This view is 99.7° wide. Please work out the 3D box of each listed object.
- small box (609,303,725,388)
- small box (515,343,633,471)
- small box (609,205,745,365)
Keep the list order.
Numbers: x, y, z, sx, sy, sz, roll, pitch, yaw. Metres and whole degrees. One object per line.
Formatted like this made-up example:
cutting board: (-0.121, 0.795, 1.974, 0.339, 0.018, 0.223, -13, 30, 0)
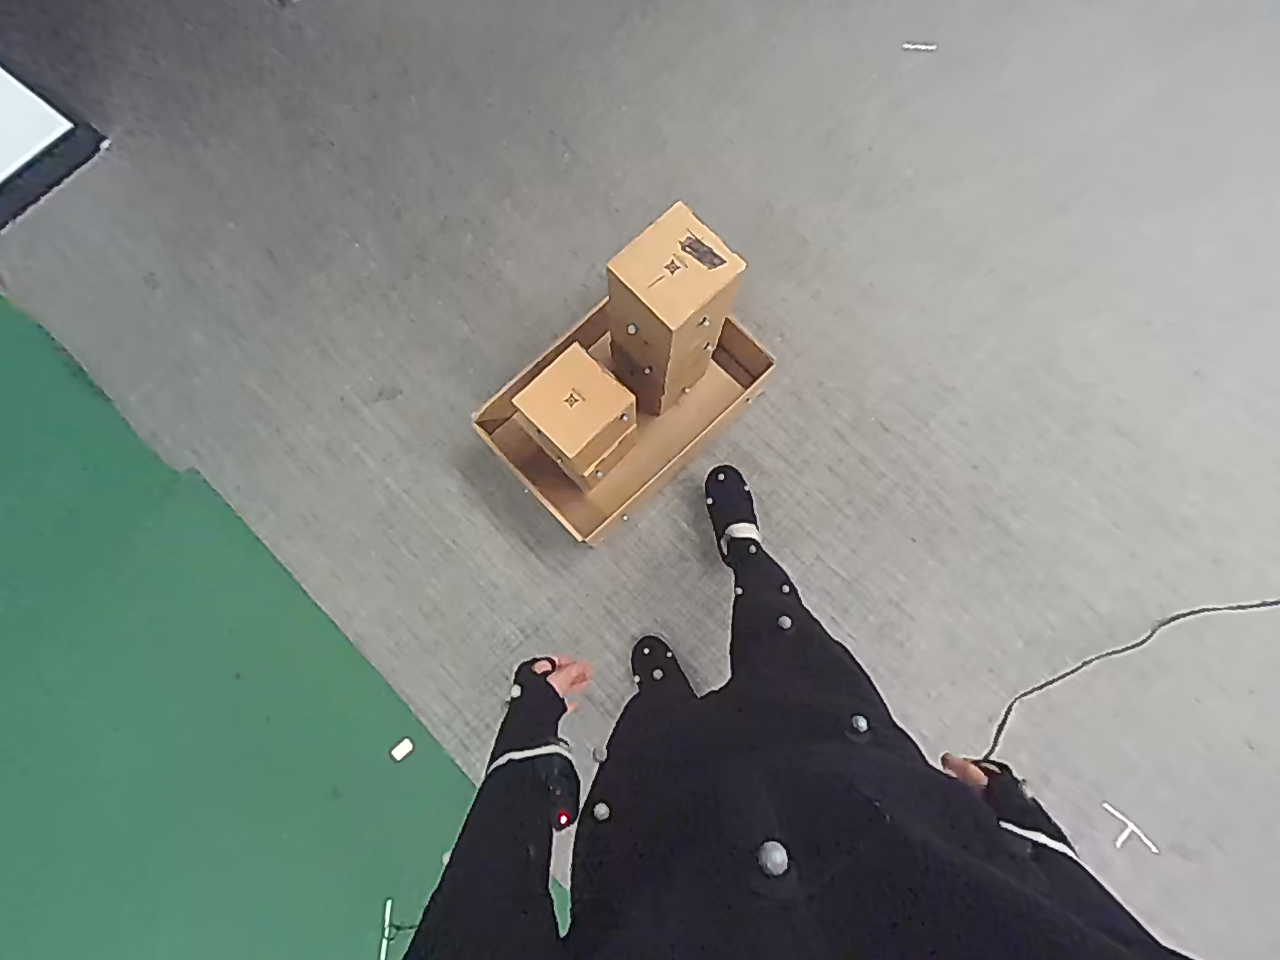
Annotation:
small box: (0.055, -0.317, 1.148, 0.168, 0.176, 0.179, -43, 82, -7)
small box: (-0.126, -0.141, 1.119, 0.168, 0.176, 0.179, 43, 81, 7)
small box: (0.061, -0.345, 0.987, 0.179, 0.176, 0.168, -43, 83, -6)
